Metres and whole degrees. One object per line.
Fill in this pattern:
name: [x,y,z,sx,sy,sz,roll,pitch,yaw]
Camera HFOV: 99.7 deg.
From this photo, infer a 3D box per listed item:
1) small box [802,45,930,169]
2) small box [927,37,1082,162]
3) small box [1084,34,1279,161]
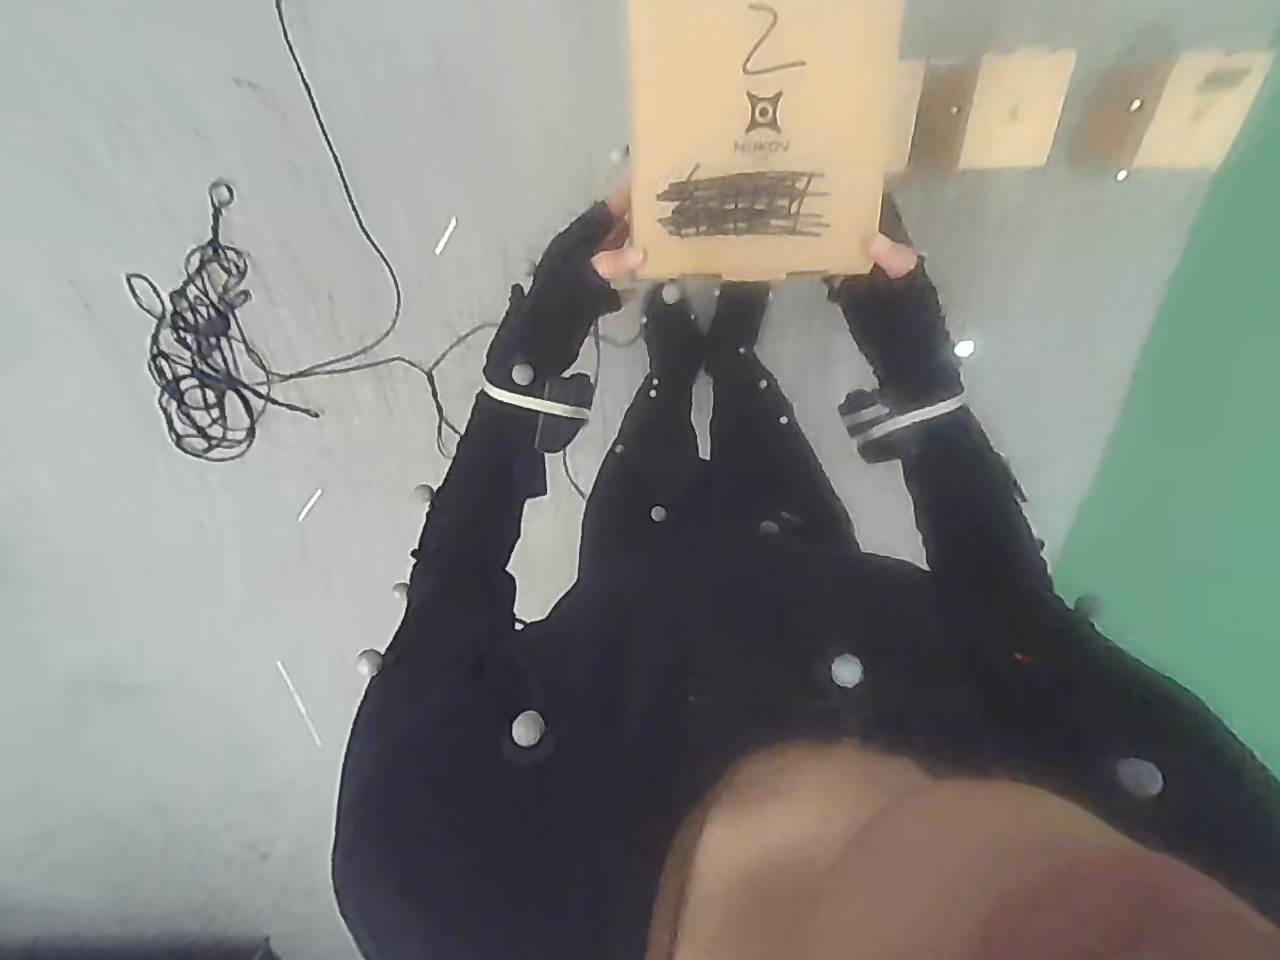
small box: [0.418,-0.701,1.033,0.168,0.176,0.179,0,119,2]
small box: [0.673,-0.710,1.027,0.168,0.176,0.179,-1,117,2]
small box: [0.999,-0.709,1.020,0.168,0.176,0.179,2,119,0]
